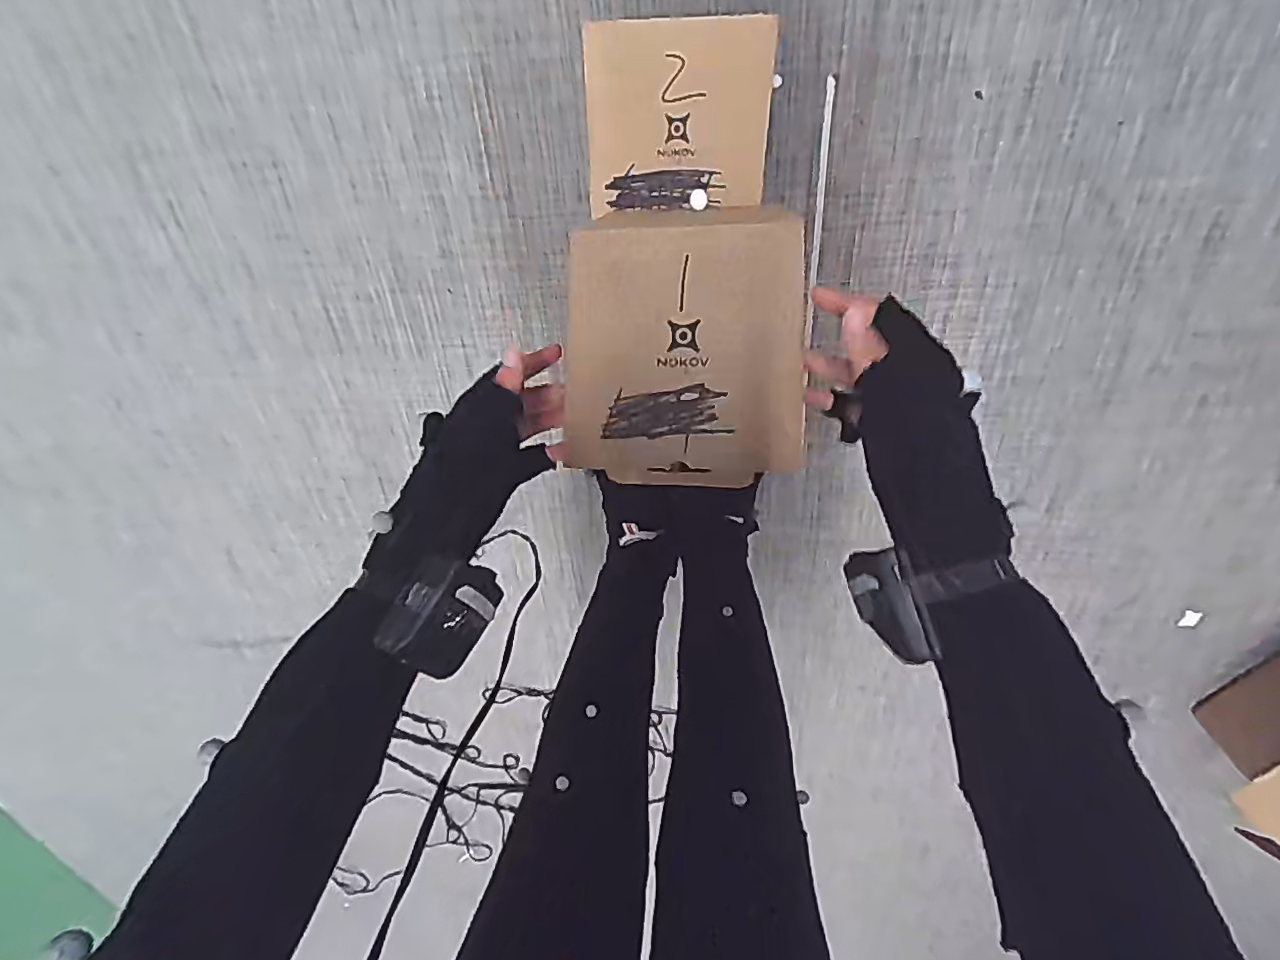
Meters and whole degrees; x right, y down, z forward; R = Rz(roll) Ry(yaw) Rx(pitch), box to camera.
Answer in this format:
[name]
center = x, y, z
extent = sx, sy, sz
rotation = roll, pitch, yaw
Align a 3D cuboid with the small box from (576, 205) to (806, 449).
[small box]
center = 0.047, -0.144, 0.489
extent = 0.168, 0.176, 0.179
rotation = 2, 120, 7
